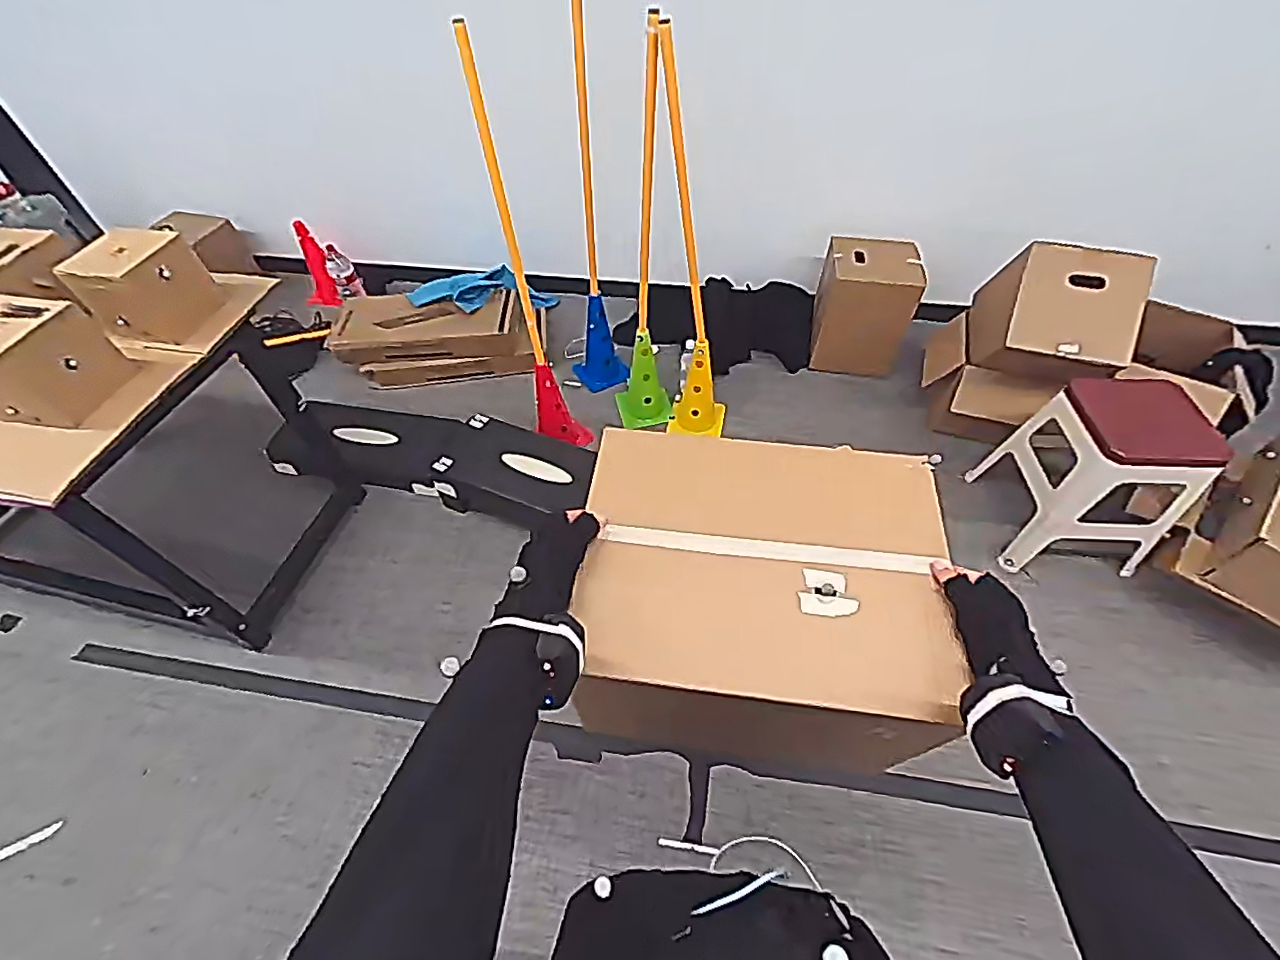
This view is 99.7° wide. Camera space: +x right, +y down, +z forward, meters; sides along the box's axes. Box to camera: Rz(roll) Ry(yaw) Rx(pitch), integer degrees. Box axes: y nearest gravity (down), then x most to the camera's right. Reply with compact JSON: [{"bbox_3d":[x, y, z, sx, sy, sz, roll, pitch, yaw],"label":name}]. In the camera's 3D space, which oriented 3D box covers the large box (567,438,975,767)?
[{"bbox_3d":[0.142,0.171,0.730,0.408,0.320,0.320,6,56,6],"label":"large box"}]
